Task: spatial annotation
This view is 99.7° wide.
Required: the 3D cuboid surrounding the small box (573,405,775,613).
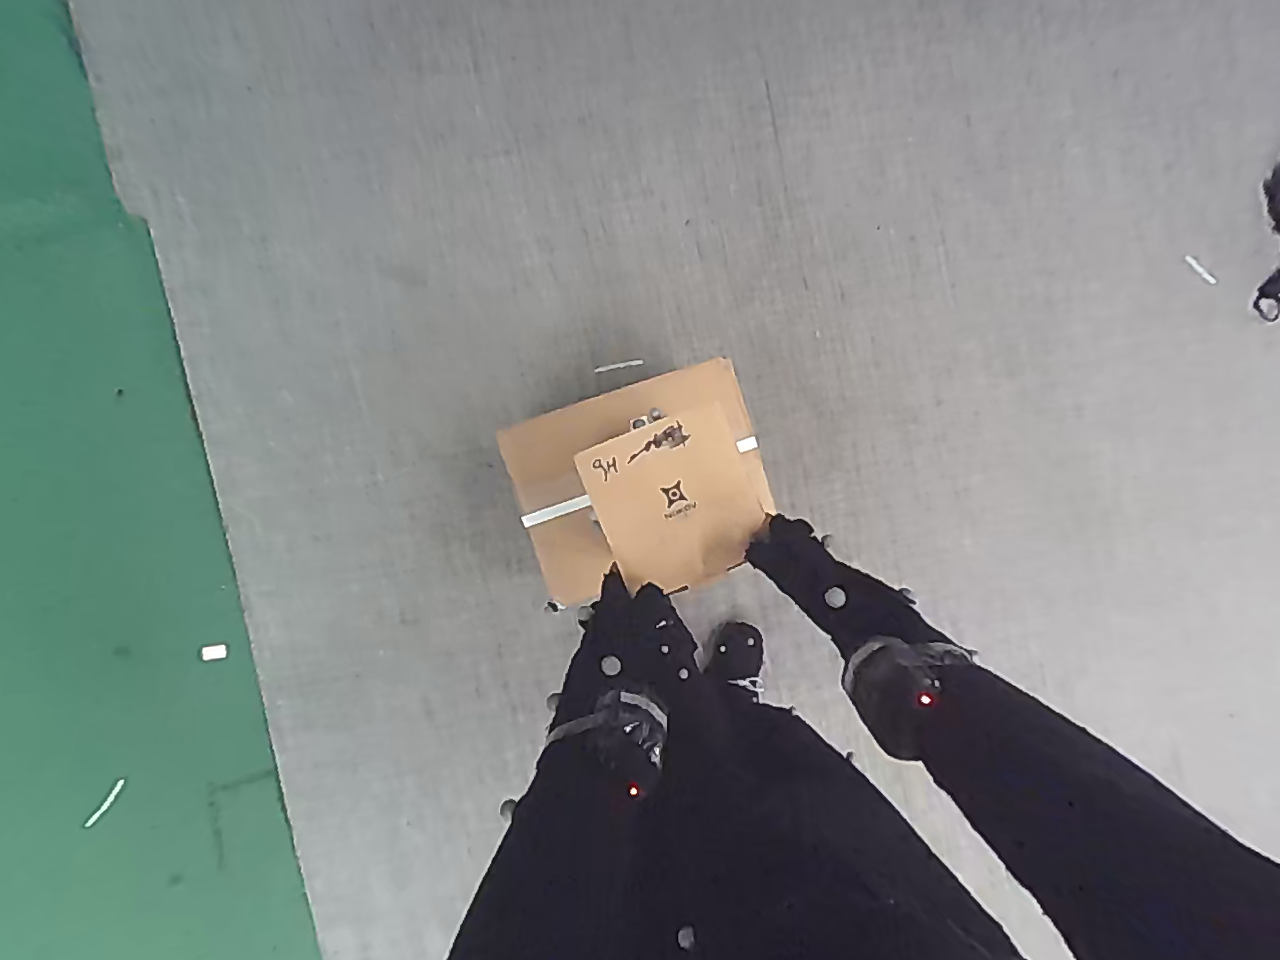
[{"bbox_3d":[0.033,0.028,0.637,0.168,0.176,0.179,-22,91,-3],"label":"small box"}]
